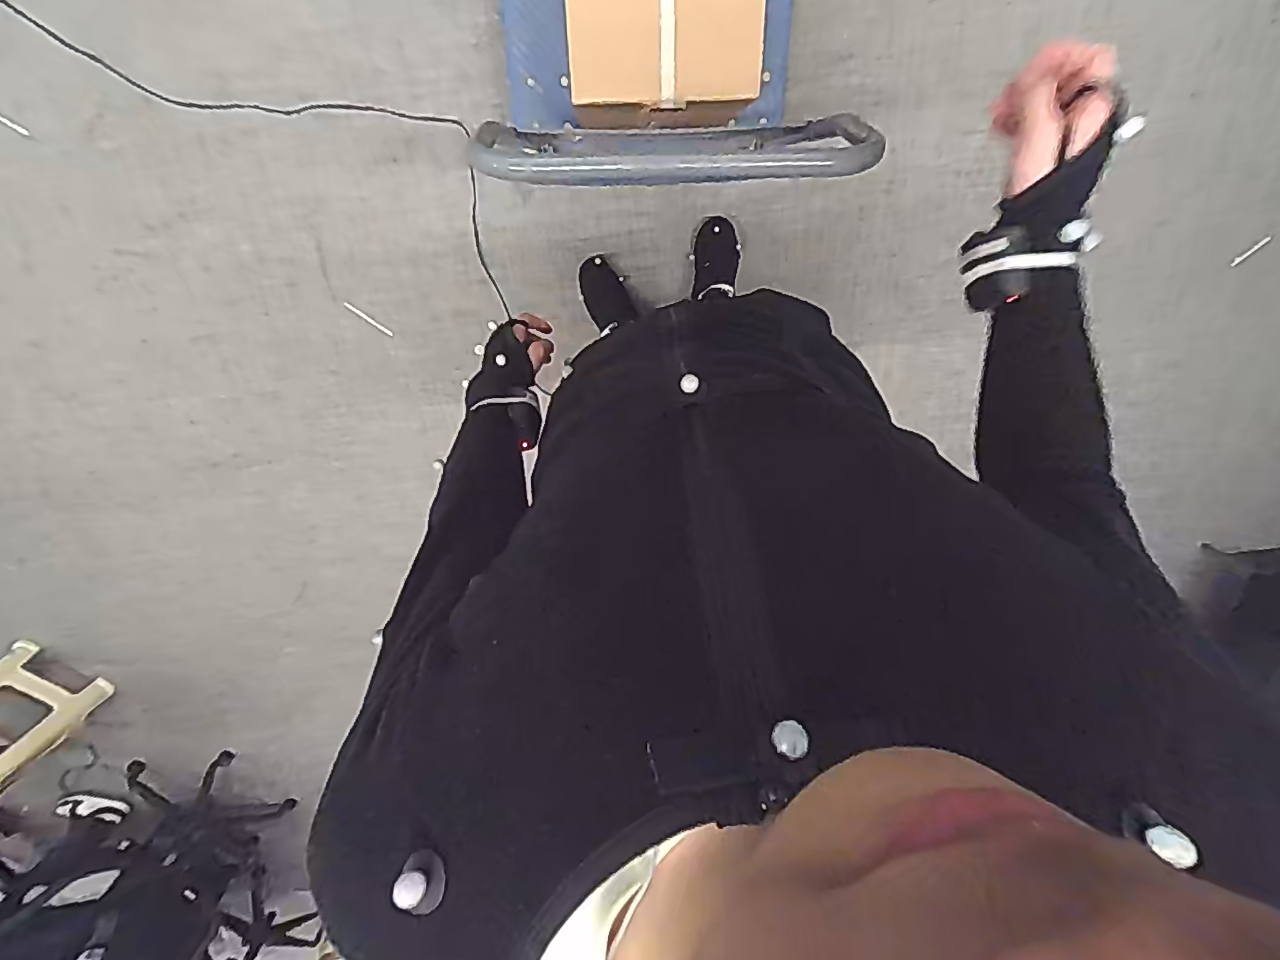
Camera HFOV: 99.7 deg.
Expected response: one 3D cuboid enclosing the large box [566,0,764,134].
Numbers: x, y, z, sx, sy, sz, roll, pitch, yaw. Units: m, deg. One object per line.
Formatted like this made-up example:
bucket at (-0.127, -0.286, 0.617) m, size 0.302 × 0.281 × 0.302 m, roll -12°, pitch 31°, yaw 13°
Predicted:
large box at (0.036, -0.867, 0.946) m, size 0.320 × 0.320 × 0.408 m, roll -2°, pitch 116°, yaw -1°
